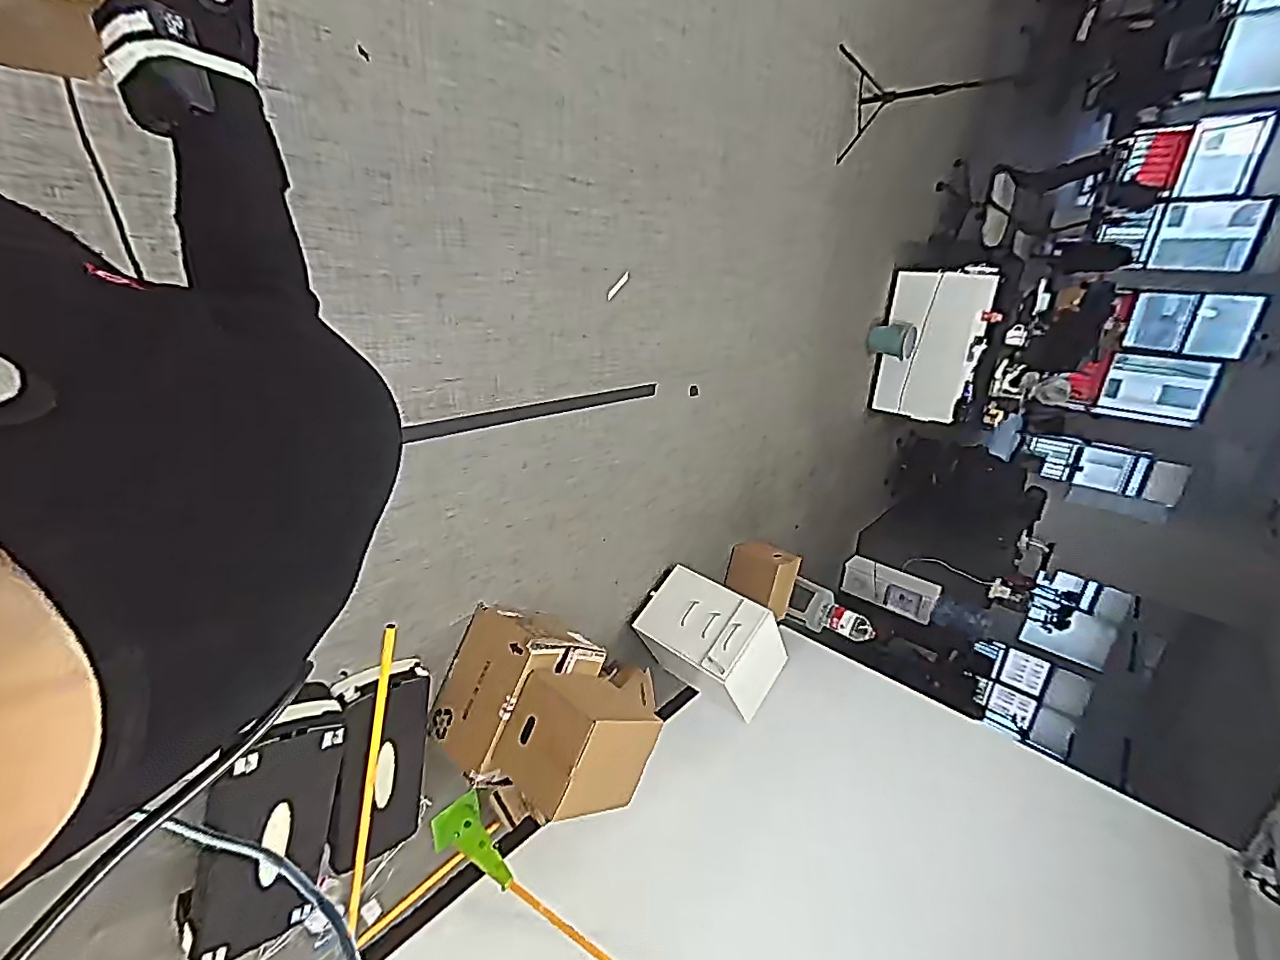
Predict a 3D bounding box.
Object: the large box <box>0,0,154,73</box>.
[{"bbox_3d":[-0.582,-0.457,0.272,0.408,0.320,0.320,-24,125,-45],"label":"large box"}]
